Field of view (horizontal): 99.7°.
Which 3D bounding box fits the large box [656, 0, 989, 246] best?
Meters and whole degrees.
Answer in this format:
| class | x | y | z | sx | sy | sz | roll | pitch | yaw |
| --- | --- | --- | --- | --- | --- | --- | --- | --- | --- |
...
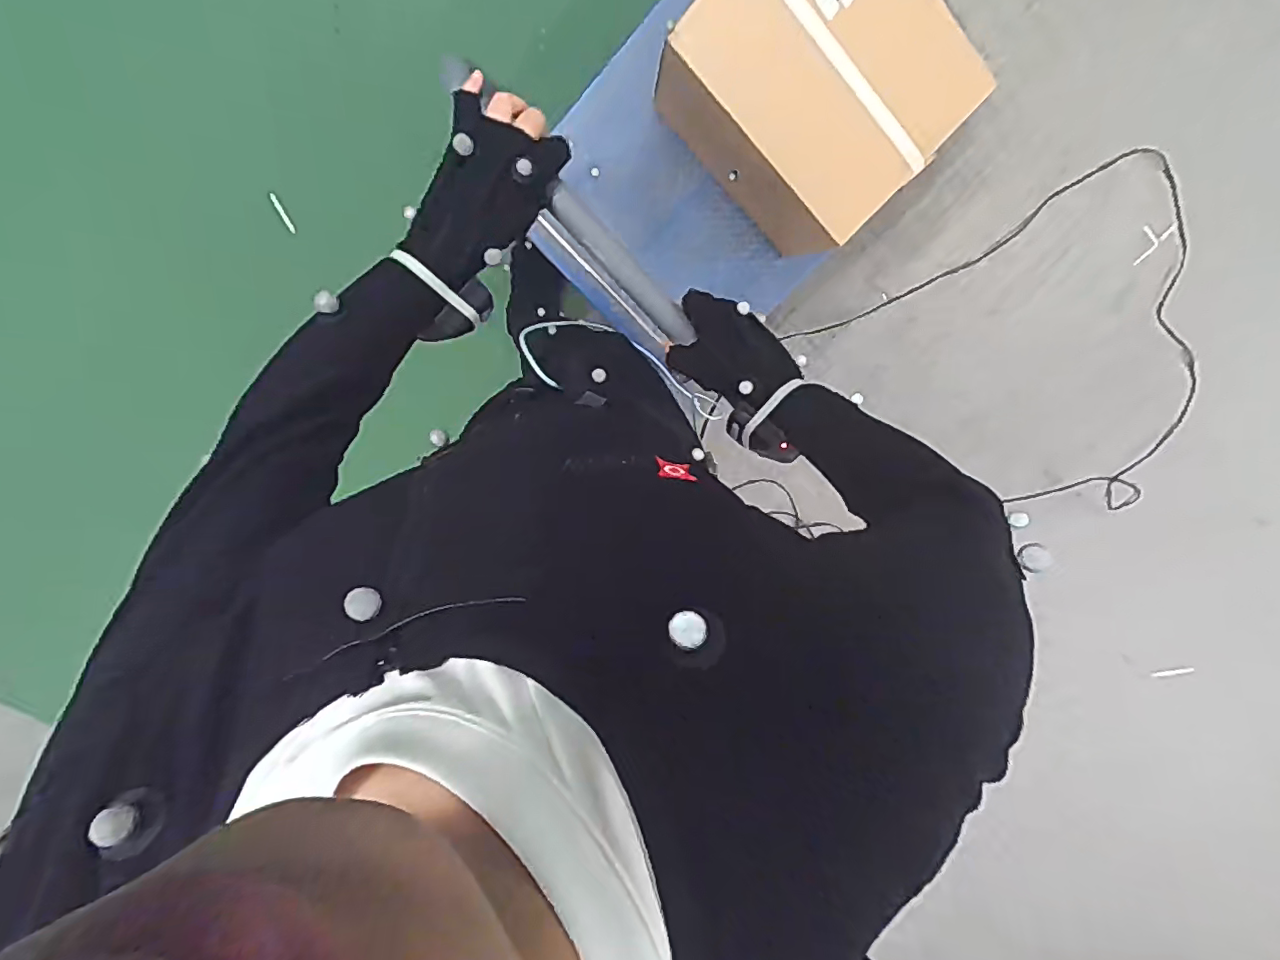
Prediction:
| class | x | y | z | sx | sy | sz | roll | pitch | yaw |
| --- | --- | --- | --- | --- | --- | --- | --- | --- | --- |
| large box | 0.279 | -0.677 | 0.940 | 0.408 | 0.320 | 0.320 | 42 | 103 | -15 |
